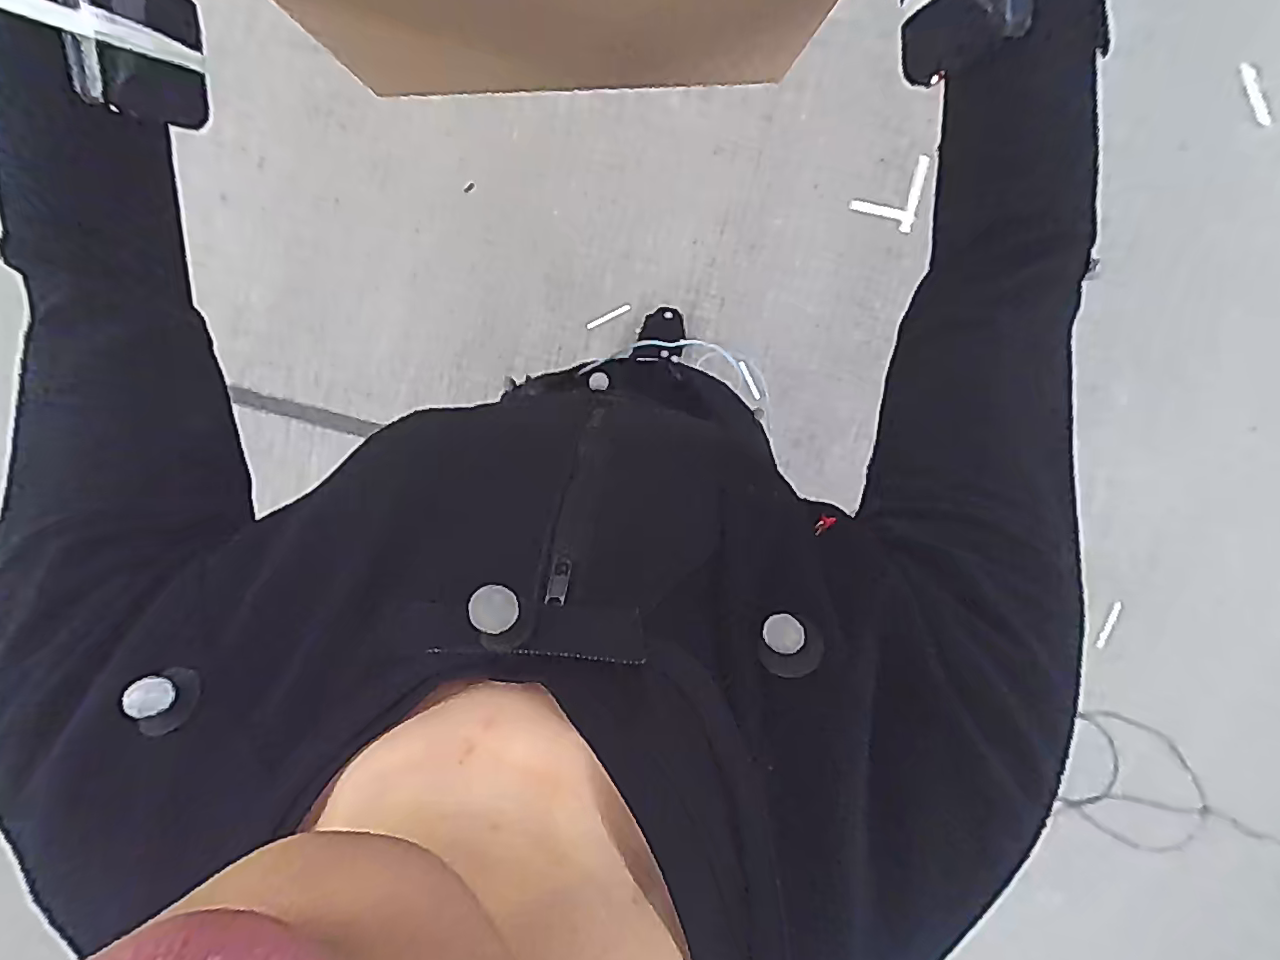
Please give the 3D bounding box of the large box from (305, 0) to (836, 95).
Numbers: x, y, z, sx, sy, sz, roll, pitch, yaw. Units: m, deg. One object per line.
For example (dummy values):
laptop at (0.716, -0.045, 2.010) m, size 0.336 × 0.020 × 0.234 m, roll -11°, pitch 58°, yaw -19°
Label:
large box at (-0.051, -0.497, 0.359) m, size 0.408 × 0.320 × 0.320 m, roll -3°, pitch 108°, yaw -2°
